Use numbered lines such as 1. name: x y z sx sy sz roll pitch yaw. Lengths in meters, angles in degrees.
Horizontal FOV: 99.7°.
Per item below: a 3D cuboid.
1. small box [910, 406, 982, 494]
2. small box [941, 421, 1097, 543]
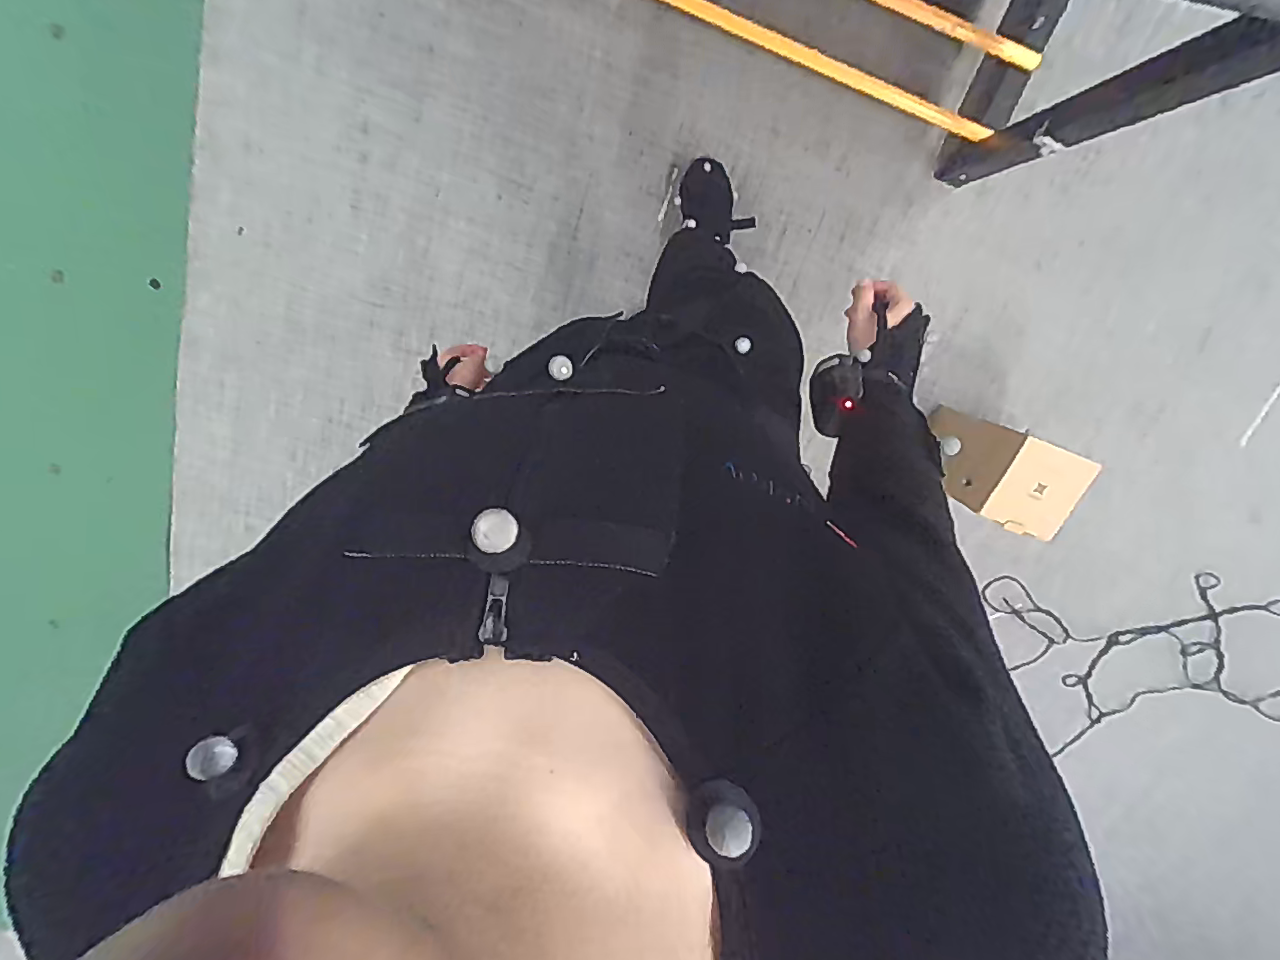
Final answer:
1. small box: 0.768 -0.052 1.269 0.168 0.176 0.179 25 109 -3
2. small box: 0.759 -0.002 1.111 0.168 0.176 0.179 20 107 -7
